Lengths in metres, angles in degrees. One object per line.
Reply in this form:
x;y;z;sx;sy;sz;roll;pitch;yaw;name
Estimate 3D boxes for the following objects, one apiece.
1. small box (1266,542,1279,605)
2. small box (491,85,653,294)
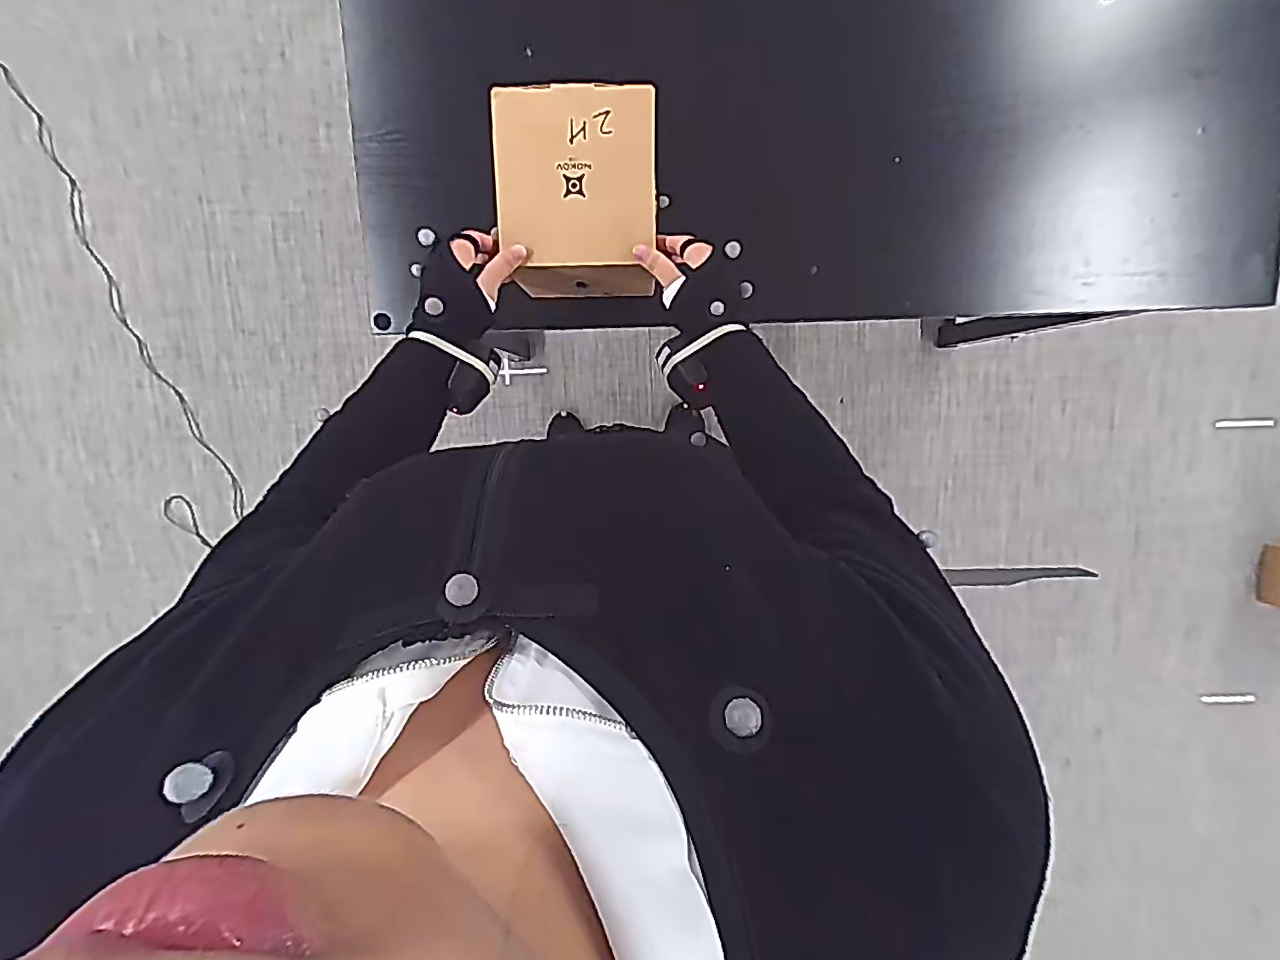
1.821;0.266;1.418;0.168;0.176;0.179;-3;97;0;small box
-0.067;-0.321;0.634;0.168;0.176;0.179;-1;97;1;small box
